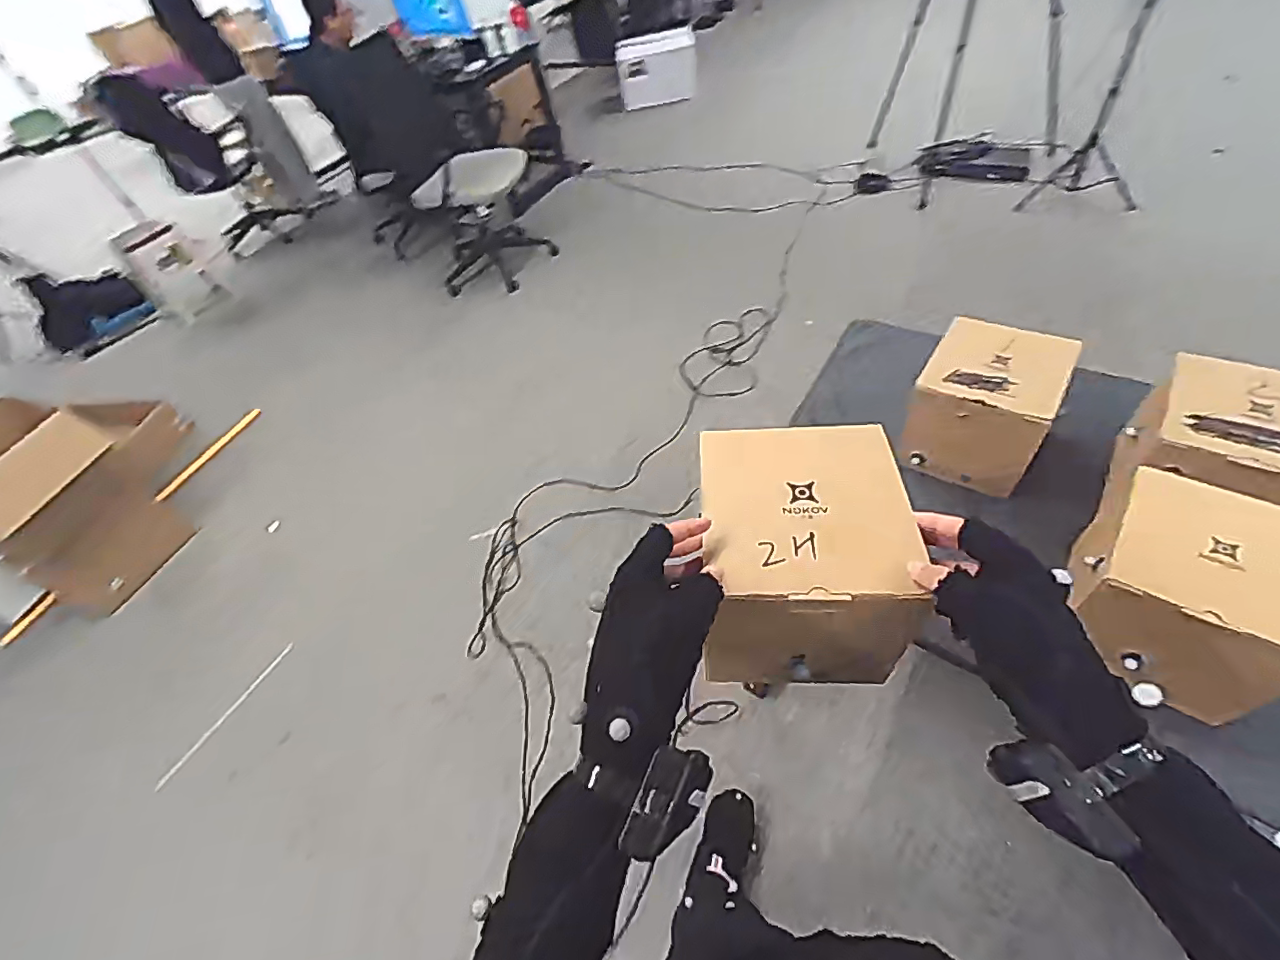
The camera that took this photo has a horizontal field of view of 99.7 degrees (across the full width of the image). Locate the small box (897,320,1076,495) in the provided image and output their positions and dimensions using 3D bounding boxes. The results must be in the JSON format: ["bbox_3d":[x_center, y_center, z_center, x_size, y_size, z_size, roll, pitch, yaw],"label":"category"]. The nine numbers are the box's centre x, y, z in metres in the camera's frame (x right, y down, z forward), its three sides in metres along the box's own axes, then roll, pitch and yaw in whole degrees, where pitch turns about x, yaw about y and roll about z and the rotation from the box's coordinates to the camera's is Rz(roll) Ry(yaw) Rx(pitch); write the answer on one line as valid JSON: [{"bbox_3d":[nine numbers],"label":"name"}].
[{"bbox_3d":[0.506,-0.107,0.813,0.168,0.176,0.179,25,60,29],"label":"small box"}]

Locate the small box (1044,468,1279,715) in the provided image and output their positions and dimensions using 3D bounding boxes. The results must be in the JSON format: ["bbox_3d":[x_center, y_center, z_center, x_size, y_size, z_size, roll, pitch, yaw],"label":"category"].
[{"bbox_3d":[0.592,0.124,0.605,0.168,0.176,0.179,25,60,29],"label":"small box"}]

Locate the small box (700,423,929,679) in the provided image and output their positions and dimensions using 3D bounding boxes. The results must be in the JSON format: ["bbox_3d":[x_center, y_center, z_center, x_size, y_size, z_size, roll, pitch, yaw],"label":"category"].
[{"bbox_3d":[0.142,0.066,0.510,0.168,0.176,0.179,0,49,8],"label":"small box"}]
